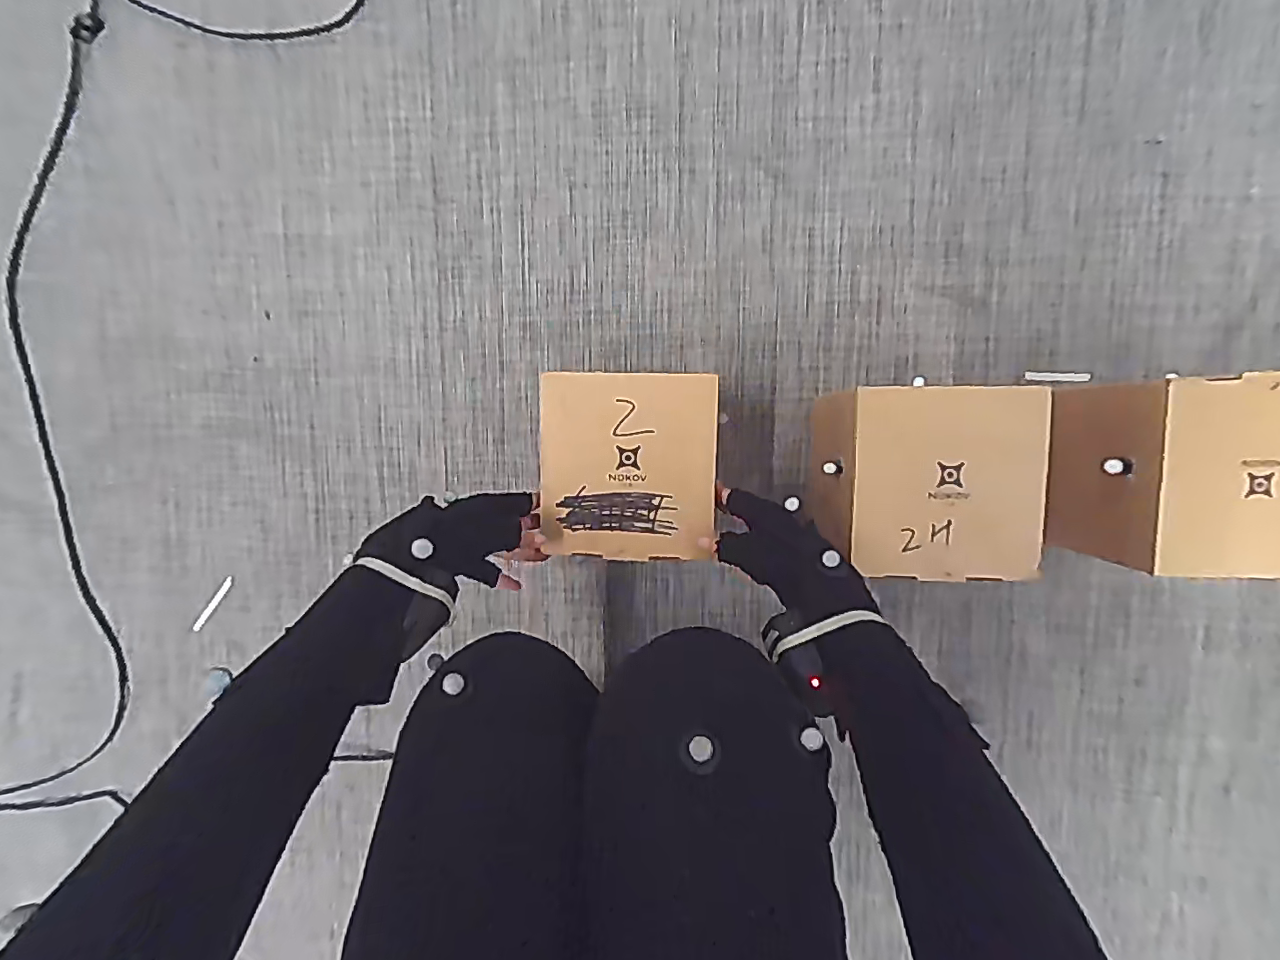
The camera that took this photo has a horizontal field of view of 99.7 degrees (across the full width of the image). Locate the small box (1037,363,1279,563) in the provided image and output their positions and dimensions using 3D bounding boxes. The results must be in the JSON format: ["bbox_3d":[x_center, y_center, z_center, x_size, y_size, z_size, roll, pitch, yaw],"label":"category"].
[{"bbox_3d":[0.535,-0.021,0.550,0.168,0.176,0.179,-1,95,4],"label":"small box"}]

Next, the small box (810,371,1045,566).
[{"bbox_3d":[0.280,-0.016,0.566,0.168,0.176,0.179,0,95,6],"label":"small box"}]
